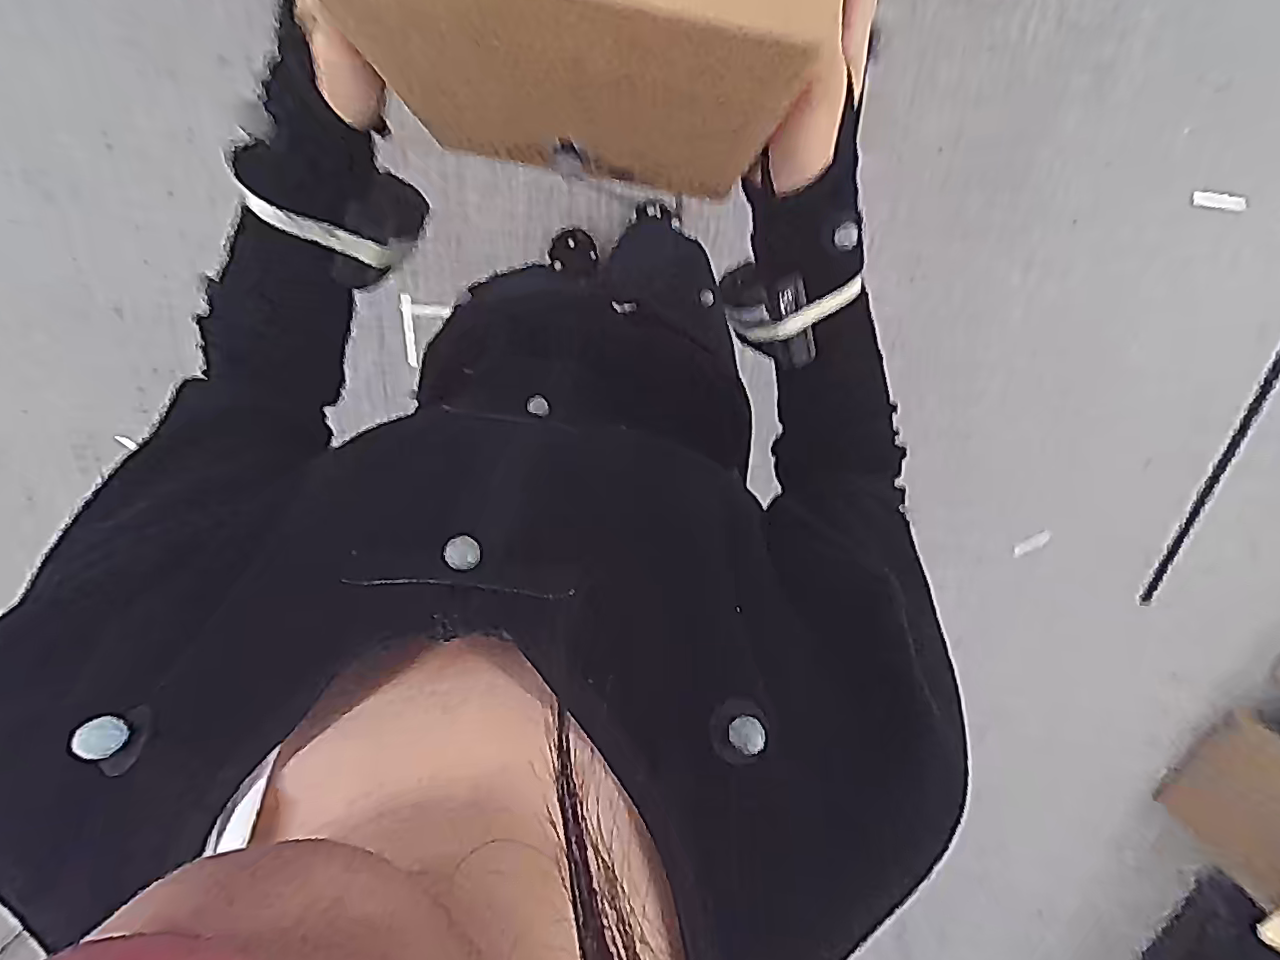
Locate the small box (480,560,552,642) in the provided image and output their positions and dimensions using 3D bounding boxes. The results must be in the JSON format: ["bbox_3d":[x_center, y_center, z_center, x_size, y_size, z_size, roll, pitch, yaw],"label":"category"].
[{"bbox_3d":[-0.355,0.350,1.579,0.179,0.176,0.168,-3,115,-5],"label":"small box"}]
